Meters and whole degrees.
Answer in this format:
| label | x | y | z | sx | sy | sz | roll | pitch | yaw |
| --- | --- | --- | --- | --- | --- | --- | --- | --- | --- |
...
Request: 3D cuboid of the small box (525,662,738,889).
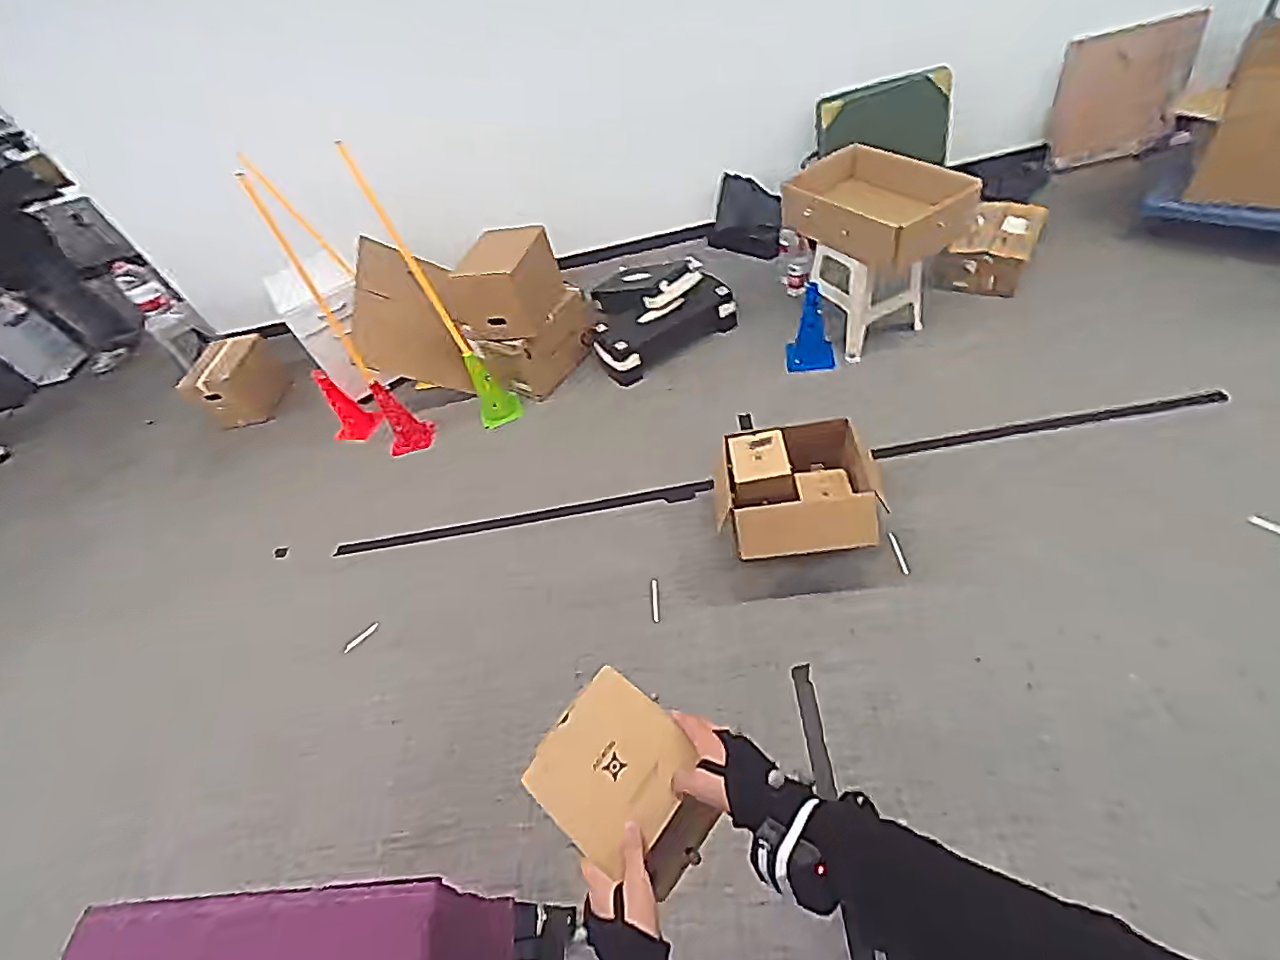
| label | x | y | z | sx | sy | sz | roll | pitch | yaw |
| --- | --- | --- | --- | --- | --- | --- | --- | --- | --- |
| small box | -0.003 | 0.368 | 0.671 | 0.179 | 0.176 | 0.168 | 27 | 65 | 37 |
